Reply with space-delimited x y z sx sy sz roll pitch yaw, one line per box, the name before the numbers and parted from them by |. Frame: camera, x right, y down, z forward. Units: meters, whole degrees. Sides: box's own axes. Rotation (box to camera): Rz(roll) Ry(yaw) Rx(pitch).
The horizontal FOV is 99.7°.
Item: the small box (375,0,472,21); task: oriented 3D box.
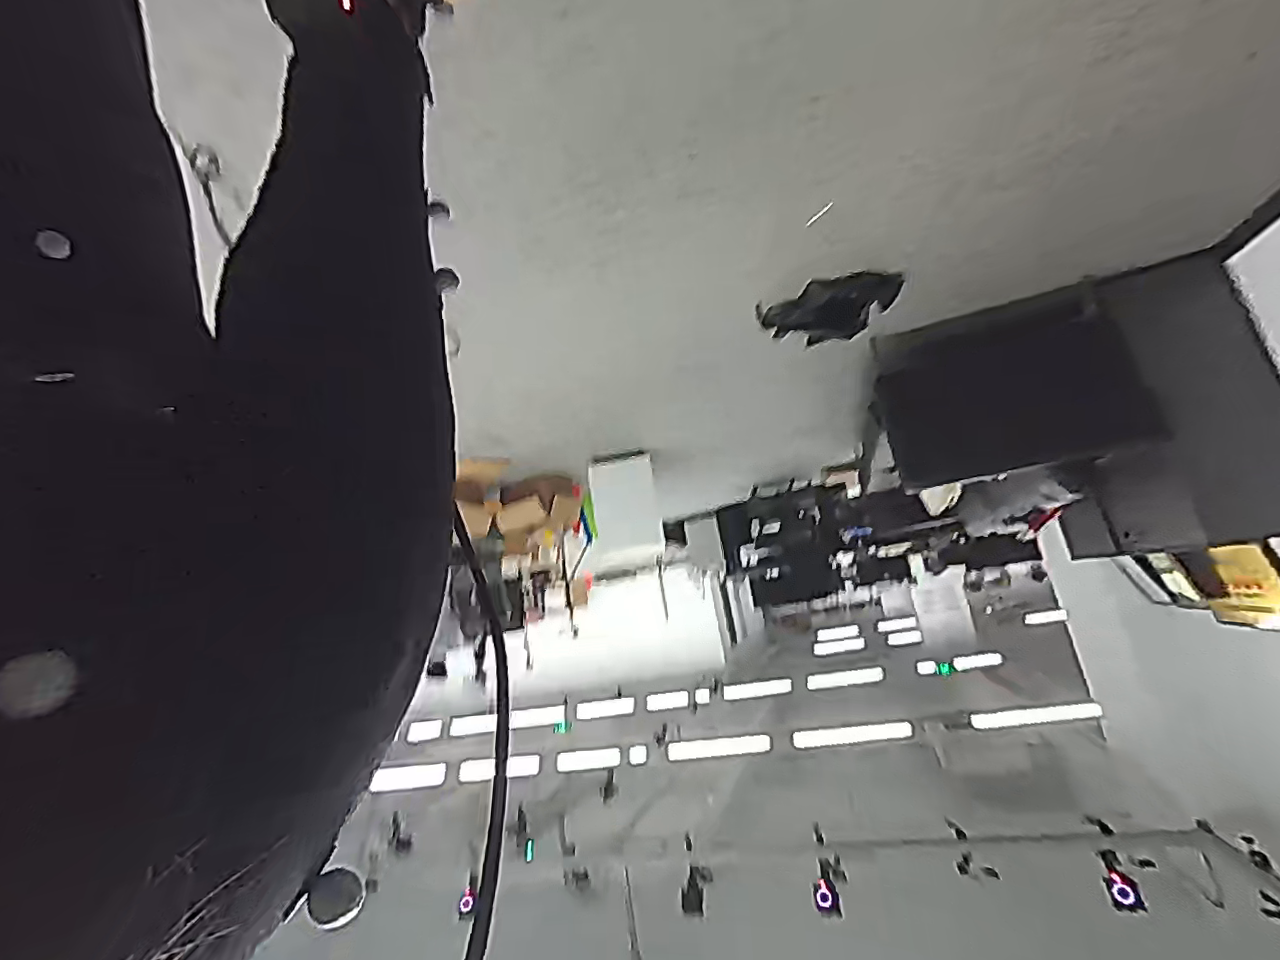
small box | -0.185 -0.536 0.443 0.176 0.179 0.168 24 175 38
